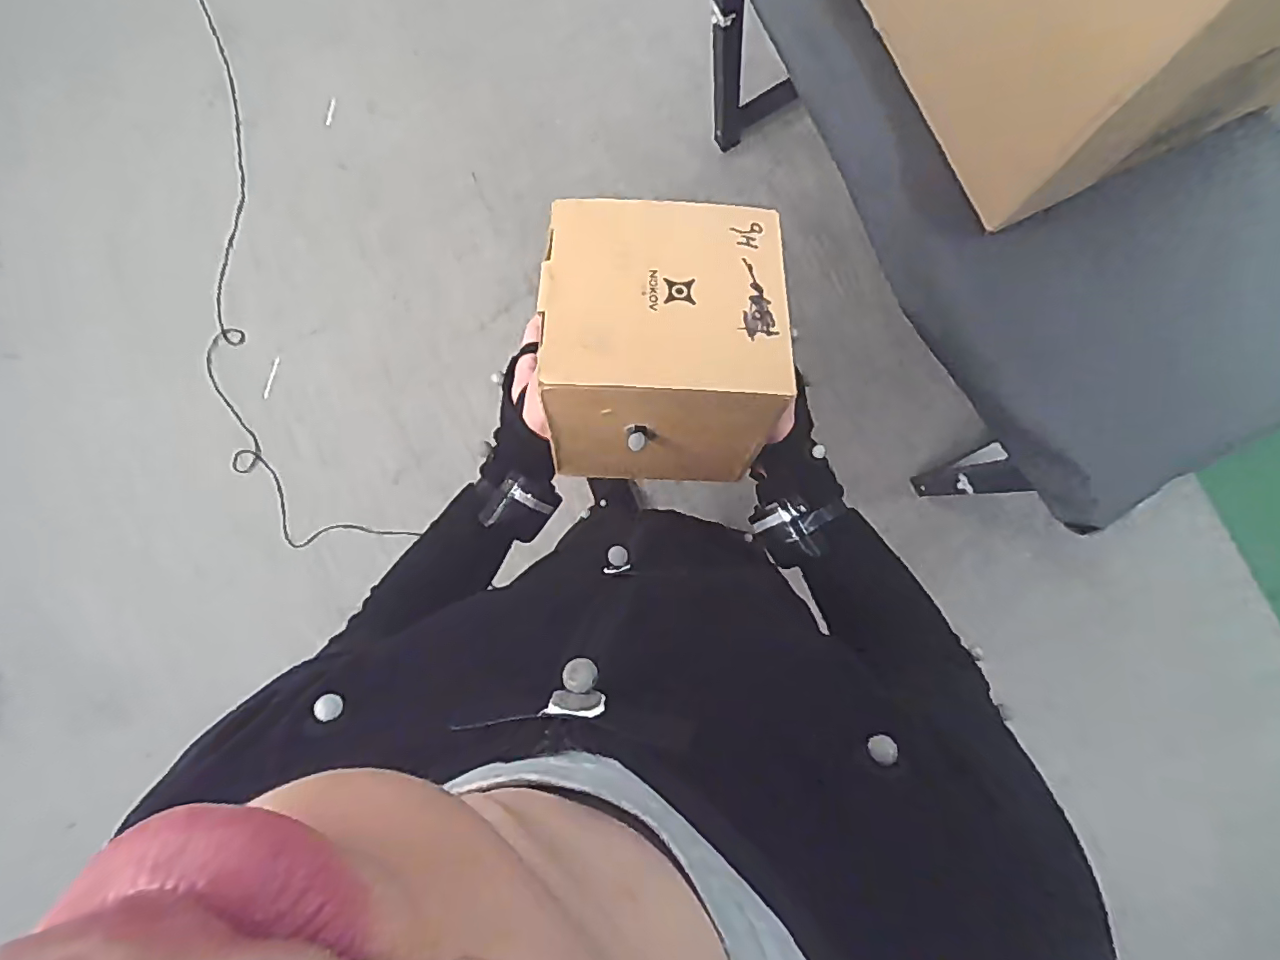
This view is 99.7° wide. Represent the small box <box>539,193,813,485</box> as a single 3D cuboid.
[{"bbox_3d":[0.022,-0.101,0.442,0.179,0.176,0.168,2,69,-2],"label":"small box"}]
